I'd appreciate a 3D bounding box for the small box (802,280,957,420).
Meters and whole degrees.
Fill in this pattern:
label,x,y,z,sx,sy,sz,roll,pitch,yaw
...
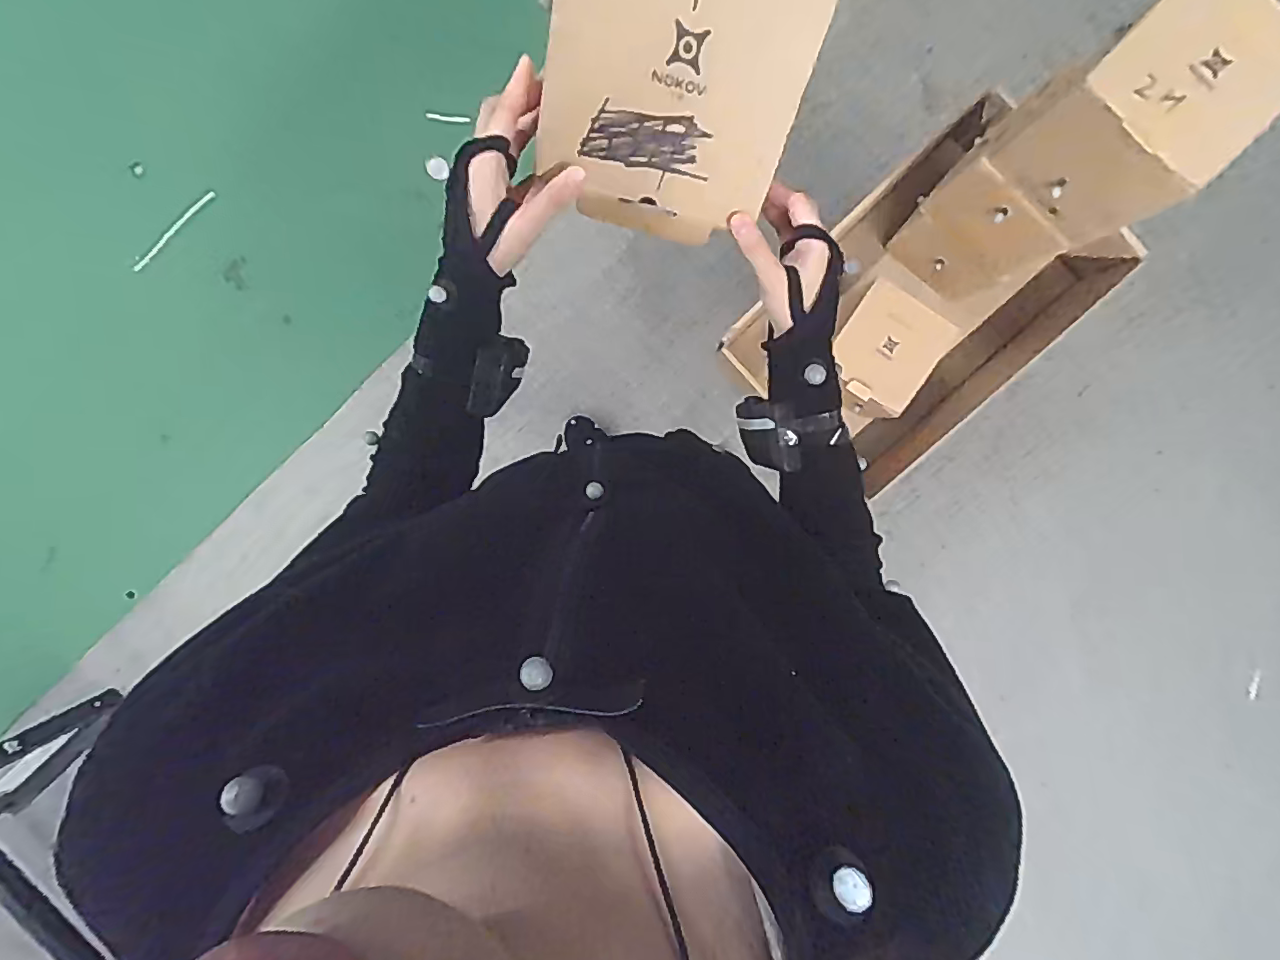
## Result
label,x,y,z,sx,sy,sz,roll,pitch,yaw
small box,0.417,-0.223,0.981,0.168,0.176,0.179,34,95,-2

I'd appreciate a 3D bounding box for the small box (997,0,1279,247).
label,x,y,z,sx,sy,sz,roll,pitch,yaw
small box,0.572,-0.412,0.625,0.168,0.176,0.179,45,96,-1

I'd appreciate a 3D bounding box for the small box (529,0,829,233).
label,x,y,z,sx,sy,sz,roll,pitch,yaw
small box,0.019,-0.317,0.404,0.168,0.176,0.179,10,129,-11

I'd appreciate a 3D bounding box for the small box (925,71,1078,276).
label,x,y,z,sx,sy,sz,roll,pitch,yaw
small box,0.569,-0.424,0.790,0.179,0.176,0.168,42,96,-1
